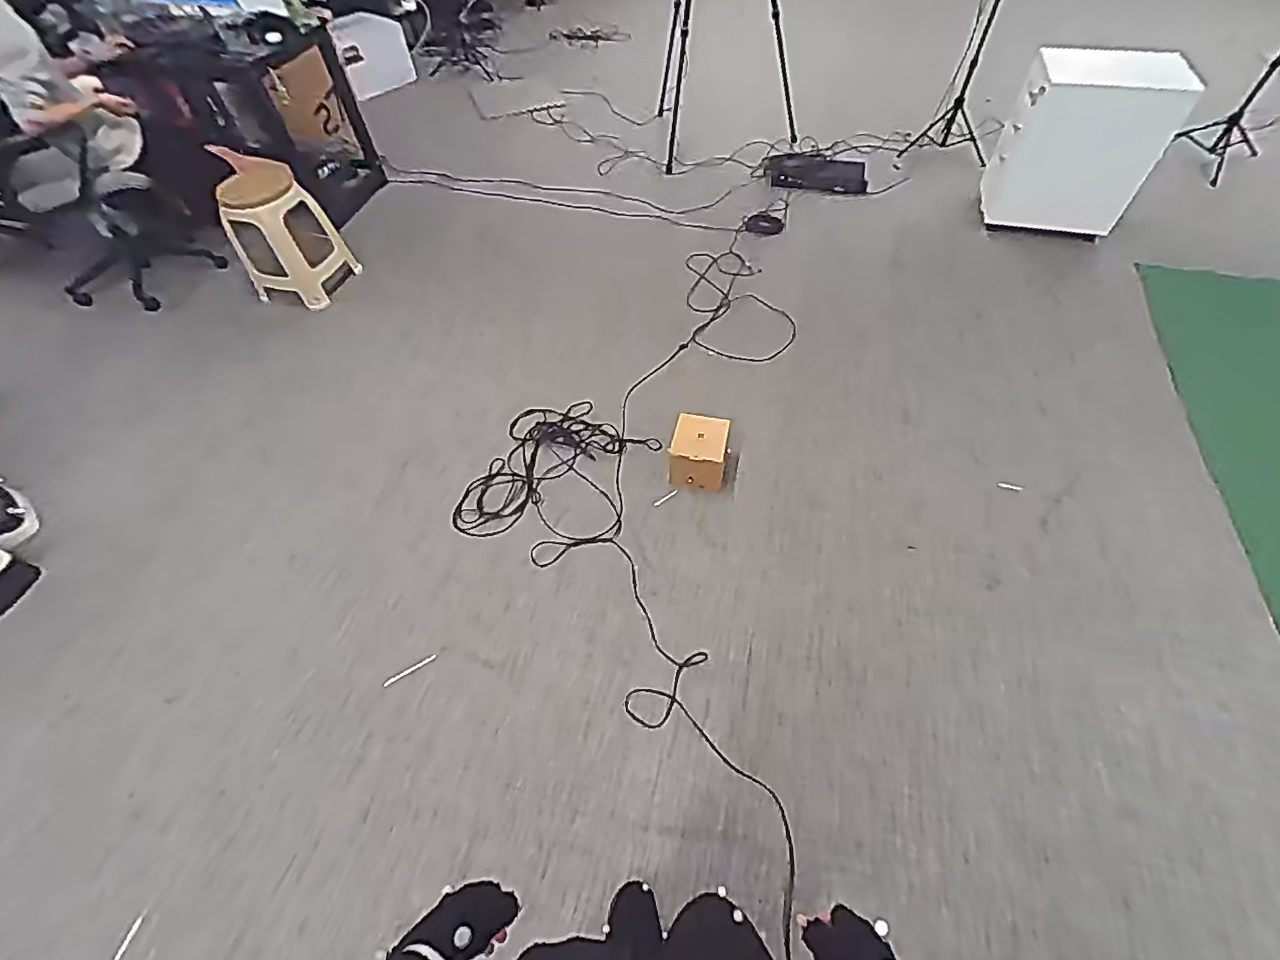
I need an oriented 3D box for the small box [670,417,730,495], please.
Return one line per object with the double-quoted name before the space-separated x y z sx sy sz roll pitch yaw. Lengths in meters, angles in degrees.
"small box" 0.194 -0.077 1.752 0.168 0.176 0.179 9 56 10
